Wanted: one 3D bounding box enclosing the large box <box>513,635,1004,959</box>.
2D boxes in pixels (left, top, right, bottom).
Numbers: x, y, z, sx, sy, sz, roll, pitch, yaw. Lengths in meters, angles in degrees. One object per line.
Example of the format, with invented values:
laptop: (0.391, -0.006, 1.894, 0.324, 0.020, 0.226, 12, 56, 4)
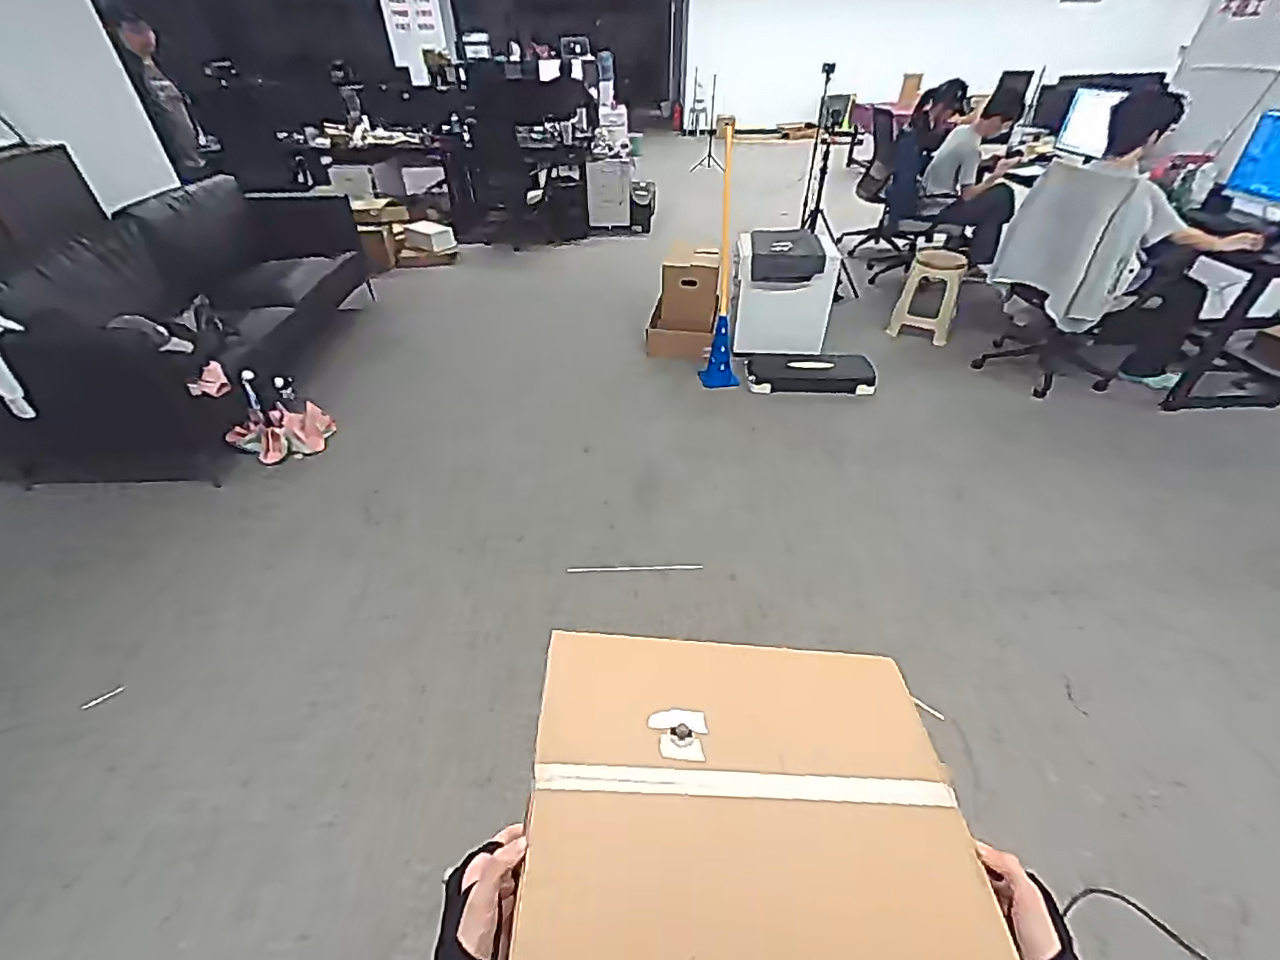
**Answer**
large box: (0.082, 0.403, 0.614, 0.408, 0.320, 0.320, 5, 40, -5)
